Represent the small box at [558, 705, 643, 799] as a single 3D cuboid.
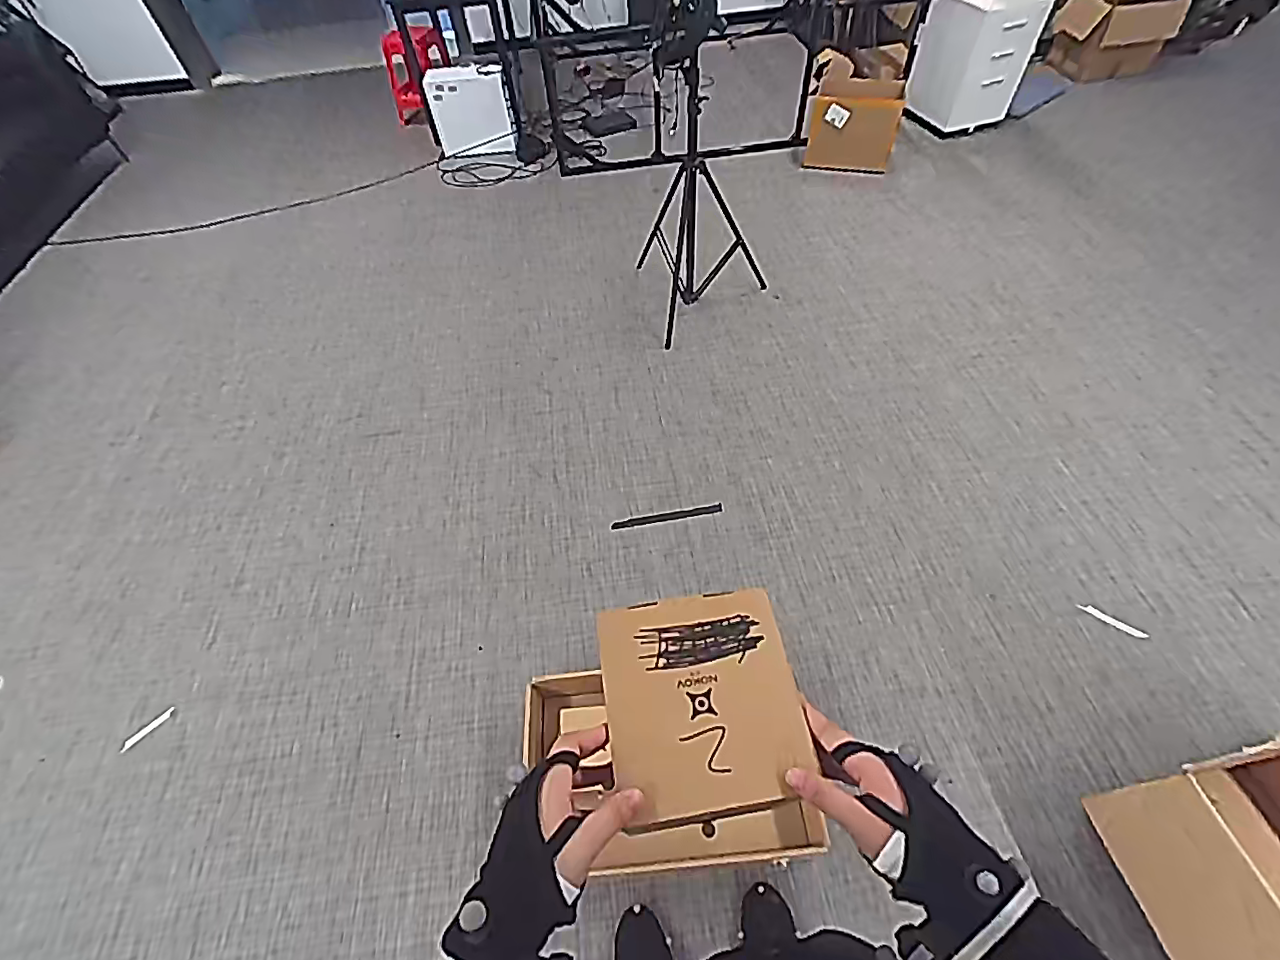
[{"bbox_3d":[-0.088,0.625,1.237,0.179,0.176,0.168,-4,56,-2],"label":"small box"}]
